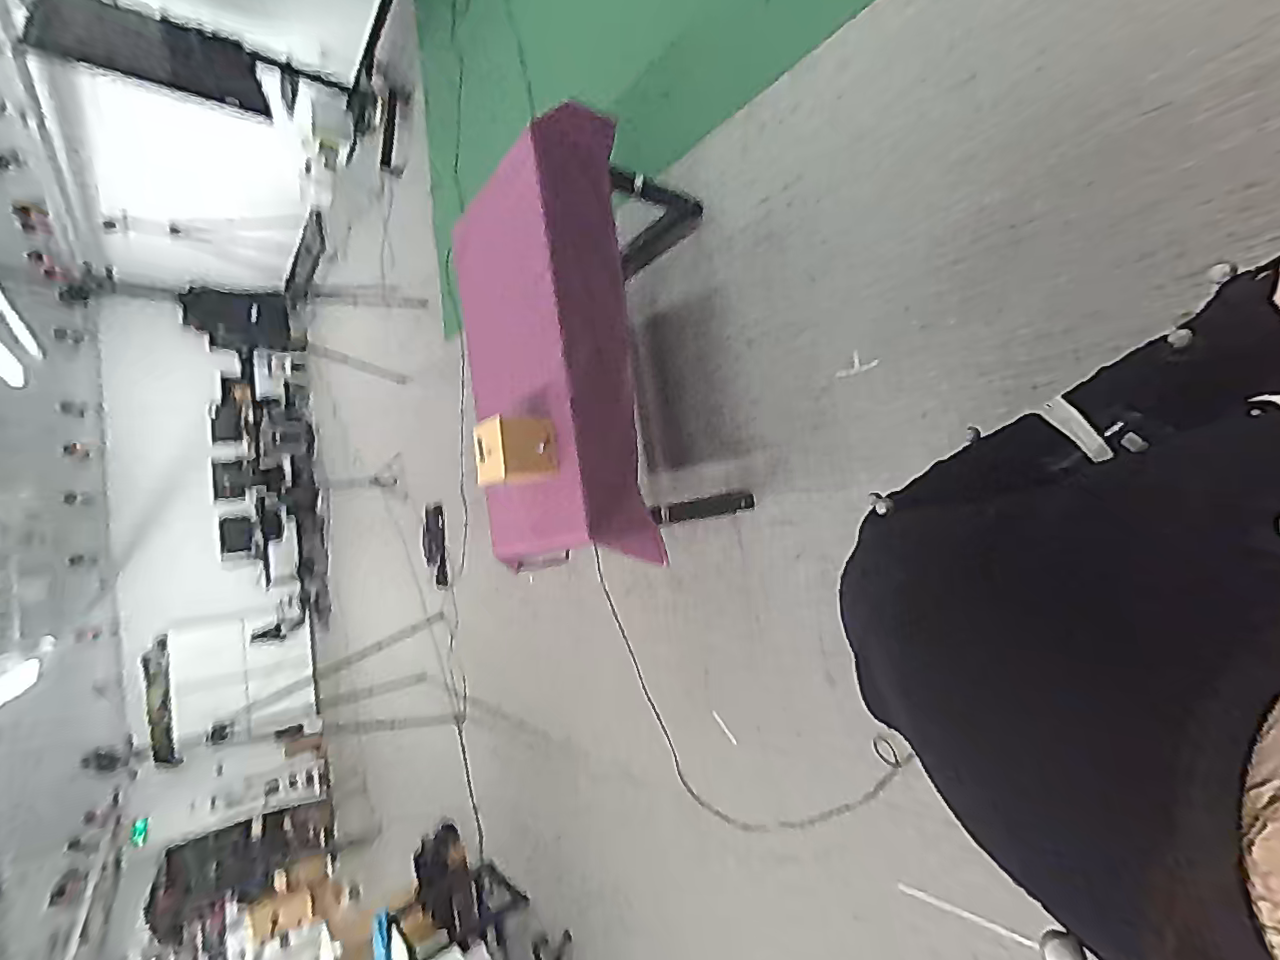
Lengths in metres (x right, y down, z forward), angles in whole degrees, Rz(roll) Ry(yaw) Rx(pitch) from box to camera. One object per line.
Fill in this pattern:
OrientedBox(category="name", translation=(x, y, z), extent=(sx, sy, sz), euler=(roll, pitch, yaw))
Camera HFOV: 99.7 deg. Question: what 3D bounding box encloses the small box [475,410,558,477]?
OrientedBox(category="small box", translation=(-0.352, -0.100, 1.544), extent=(0.179, 0.176, 0.168), euler=(-10, 86, 49))
